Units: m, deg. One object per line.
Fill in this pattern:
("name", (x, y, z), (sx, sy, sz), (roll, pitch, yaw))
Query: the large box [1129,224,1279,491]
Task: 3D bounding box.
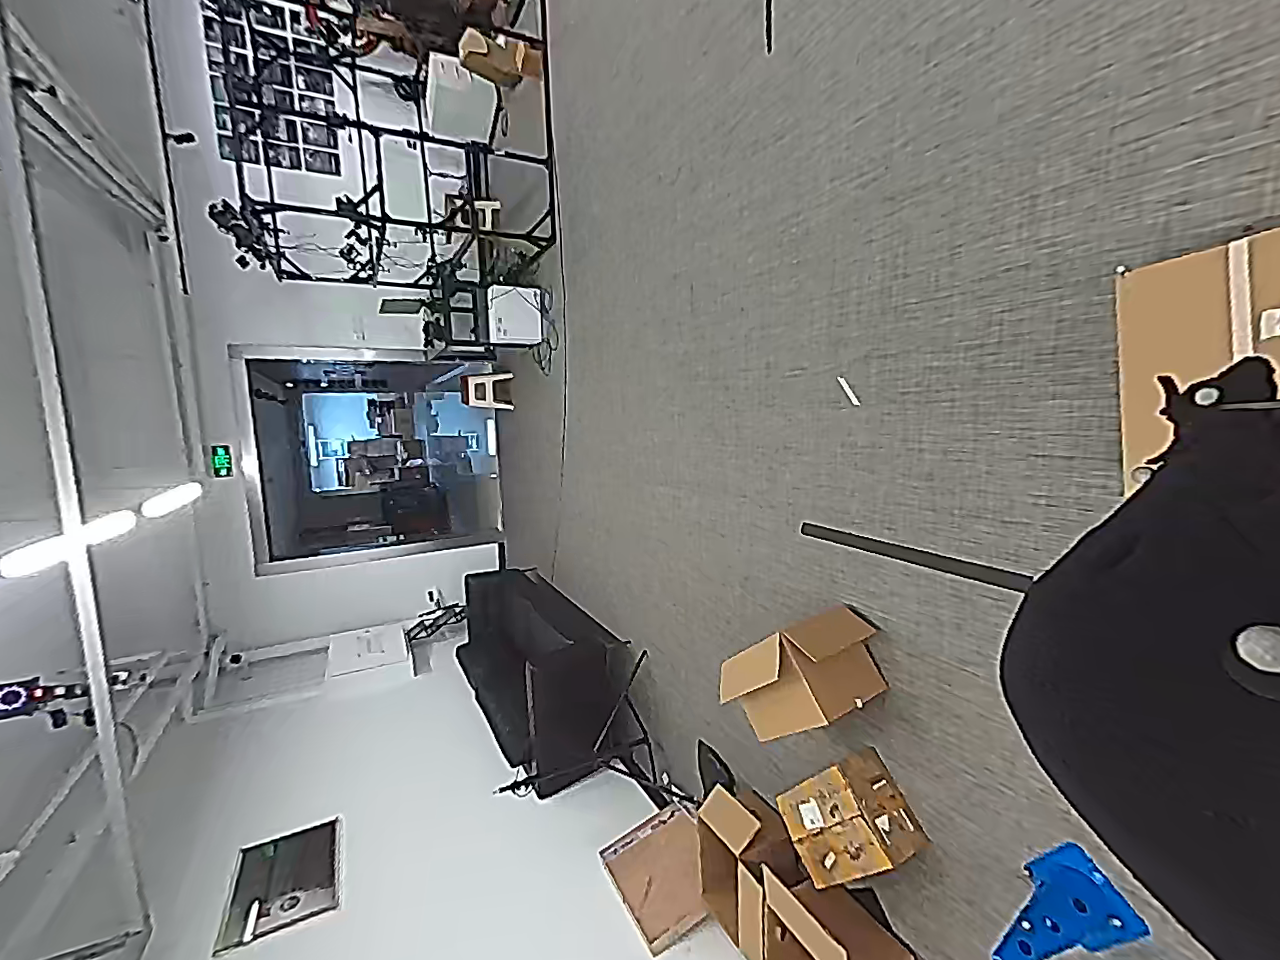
("large box", (1.081, -0.189, 0.889), (0.320, 0.320, 0.408), (0, 93, 63))
